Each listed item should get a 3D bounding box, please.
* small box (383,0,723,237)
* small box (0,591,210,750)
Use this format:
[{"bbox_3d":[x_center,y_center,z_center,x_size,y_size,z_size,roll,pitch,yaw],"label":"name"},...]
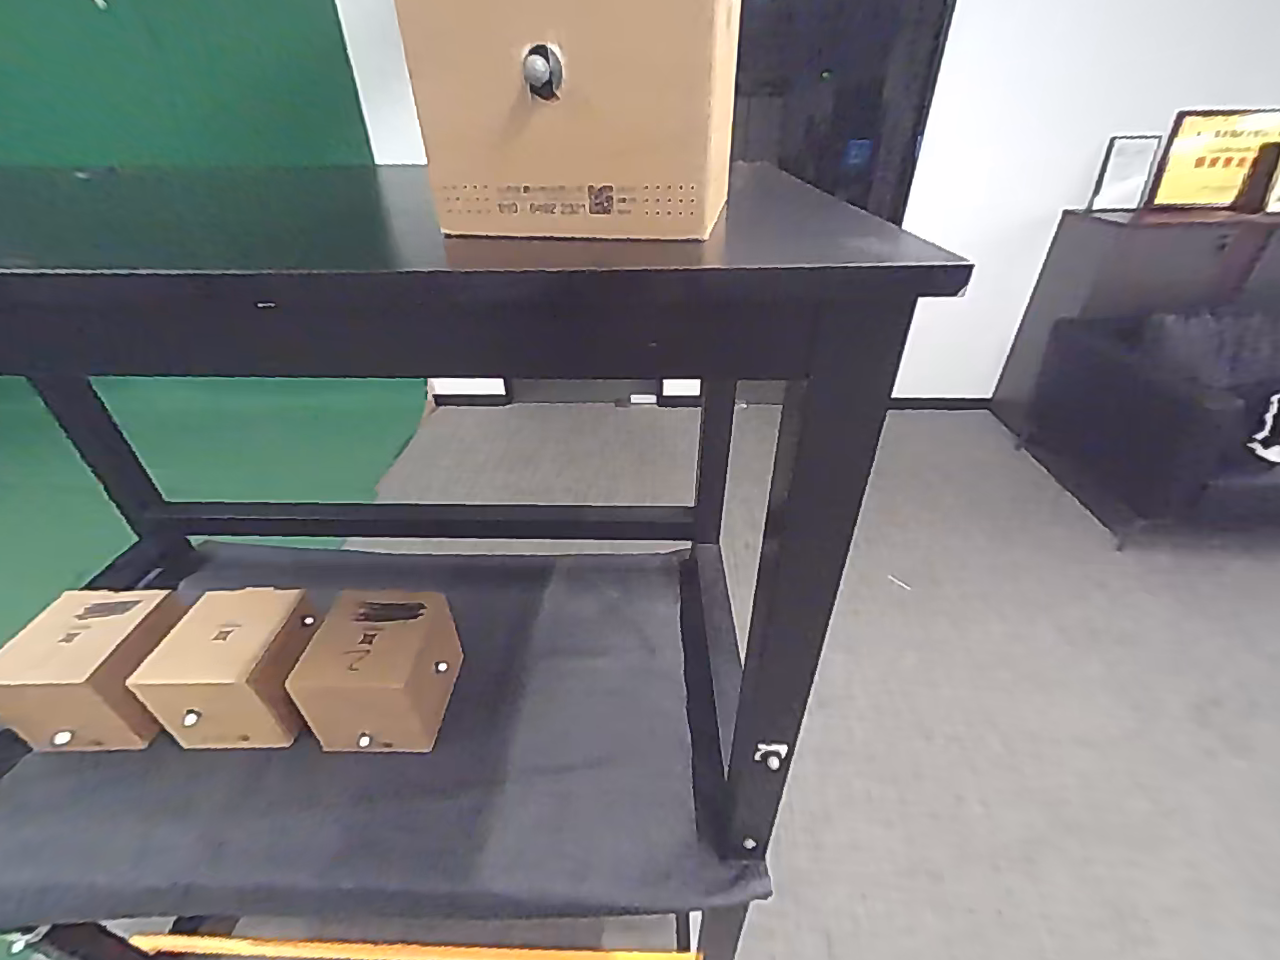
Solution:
[{"bbox_3d":[-0.036,-0.259,0.344,0.168,0.176,0.179,6,34,10],"label":"small box"},{"bbox_3d":[-0.830,0.296,0.850,0.168,0.176,0.179,-1,35,-1],"label":"small box"}]
